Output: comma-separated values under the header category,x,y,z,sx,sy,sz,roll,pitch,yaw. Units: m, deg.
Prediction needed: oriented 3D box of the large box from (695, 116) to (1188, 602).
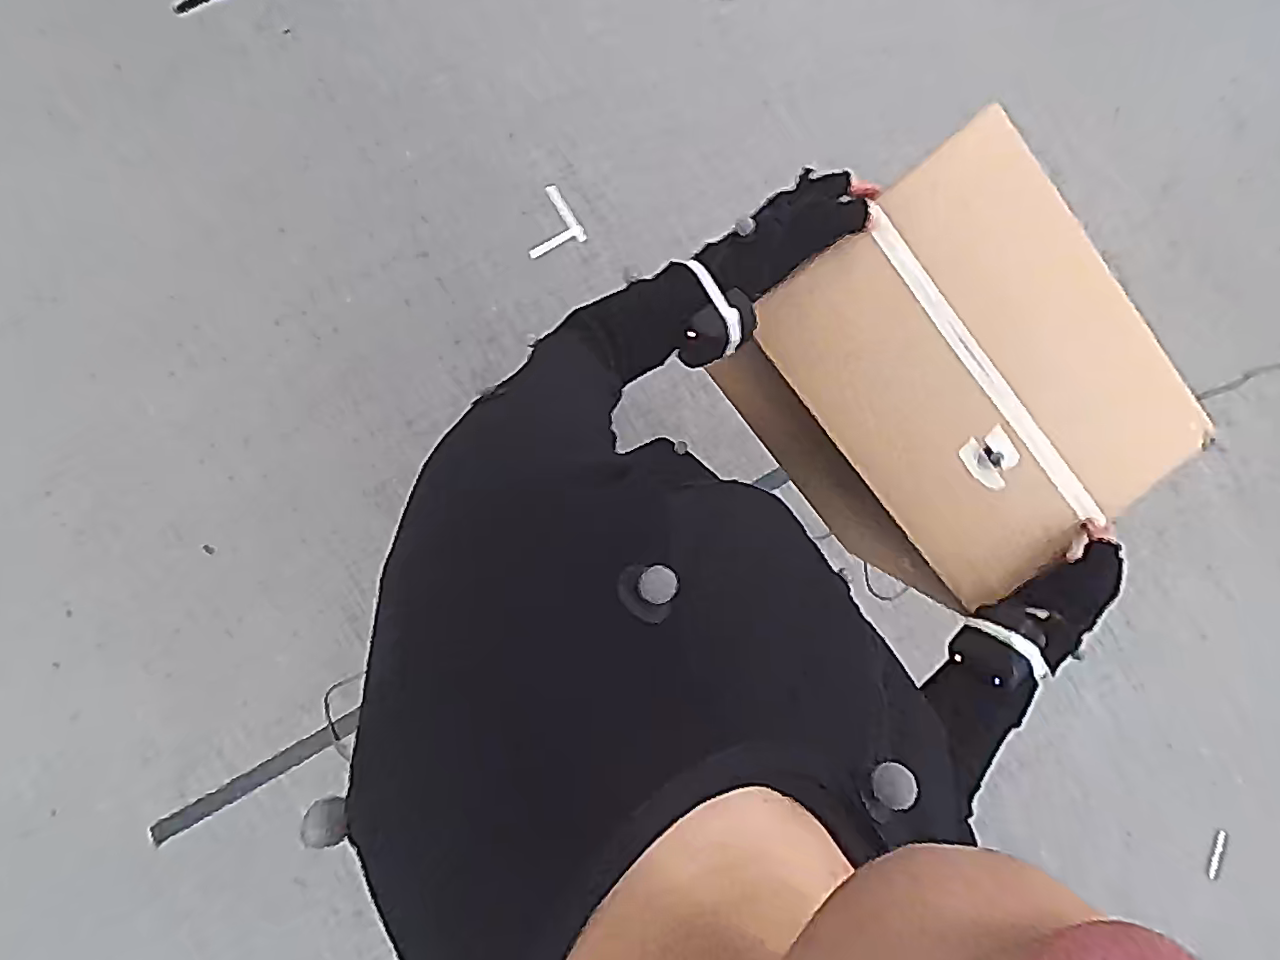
category,x,y,z,sx,sy,sz,roll,pitch,yaw
large box,0.329,-0.129,0.698,0.320,0.320,0.408,-40,98,3
